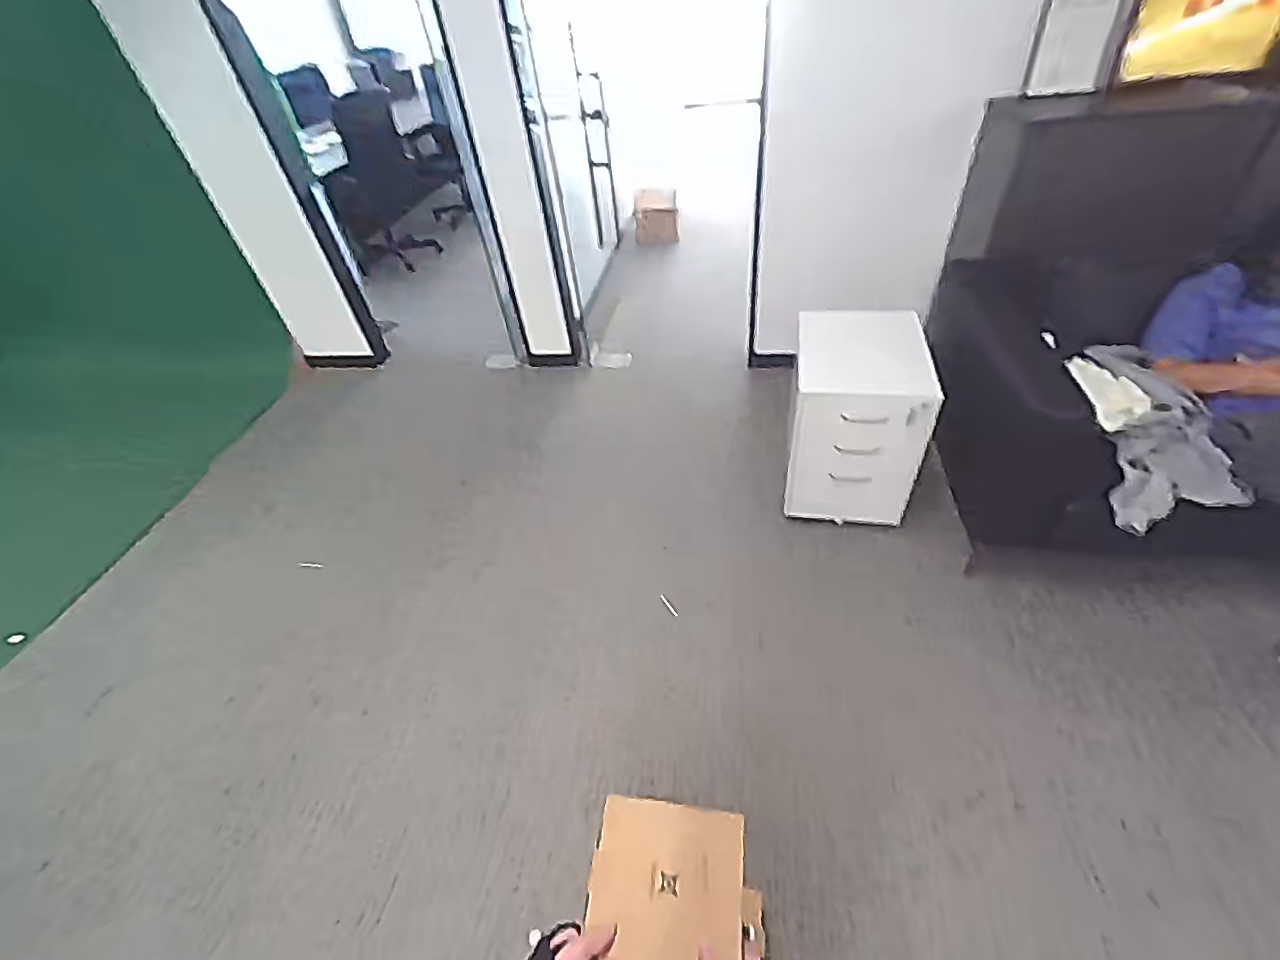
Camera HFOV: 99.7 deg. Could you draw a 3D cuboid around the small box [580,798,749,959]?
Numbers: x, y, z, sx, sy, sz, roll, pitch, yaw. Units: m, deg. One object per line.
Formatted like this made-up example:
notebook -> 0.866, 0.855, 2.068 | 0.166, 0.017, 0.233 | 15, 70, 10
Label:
small box -> 0.040, 0.521, 0.663 | 0.179, 0.176, 0.168 | 3, 42, 10
